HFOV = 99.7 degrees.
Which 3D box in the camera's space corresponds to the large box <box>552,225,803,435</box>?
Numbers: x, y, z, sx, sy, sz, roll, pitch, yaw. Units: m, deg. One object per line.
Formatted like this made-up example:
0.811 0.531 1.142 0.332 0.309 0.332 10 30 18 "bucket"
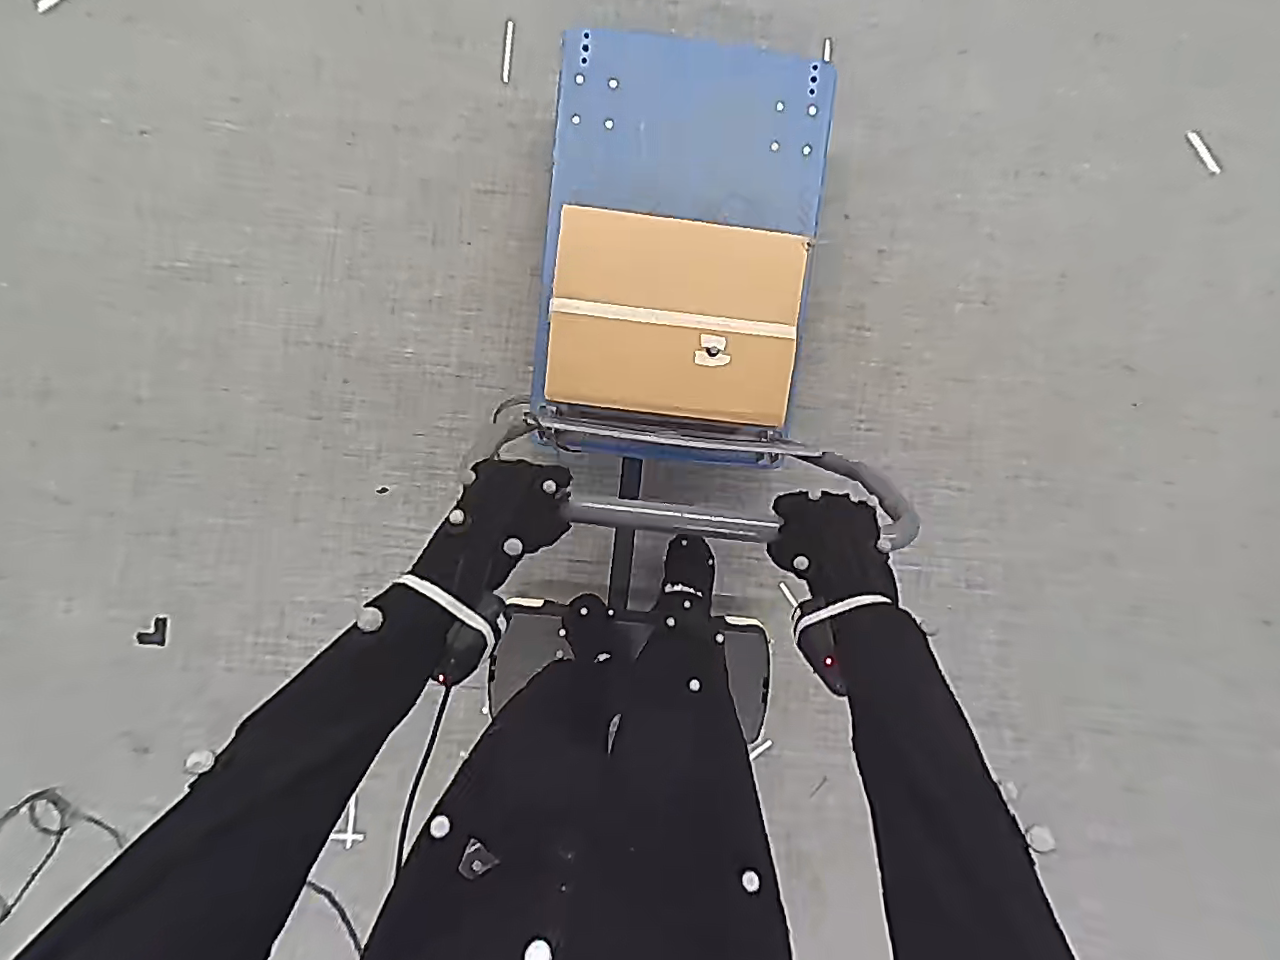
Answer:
0.053 -0.262 1.055 0.408 0.320 0.320 6 96 -3 "large box"
